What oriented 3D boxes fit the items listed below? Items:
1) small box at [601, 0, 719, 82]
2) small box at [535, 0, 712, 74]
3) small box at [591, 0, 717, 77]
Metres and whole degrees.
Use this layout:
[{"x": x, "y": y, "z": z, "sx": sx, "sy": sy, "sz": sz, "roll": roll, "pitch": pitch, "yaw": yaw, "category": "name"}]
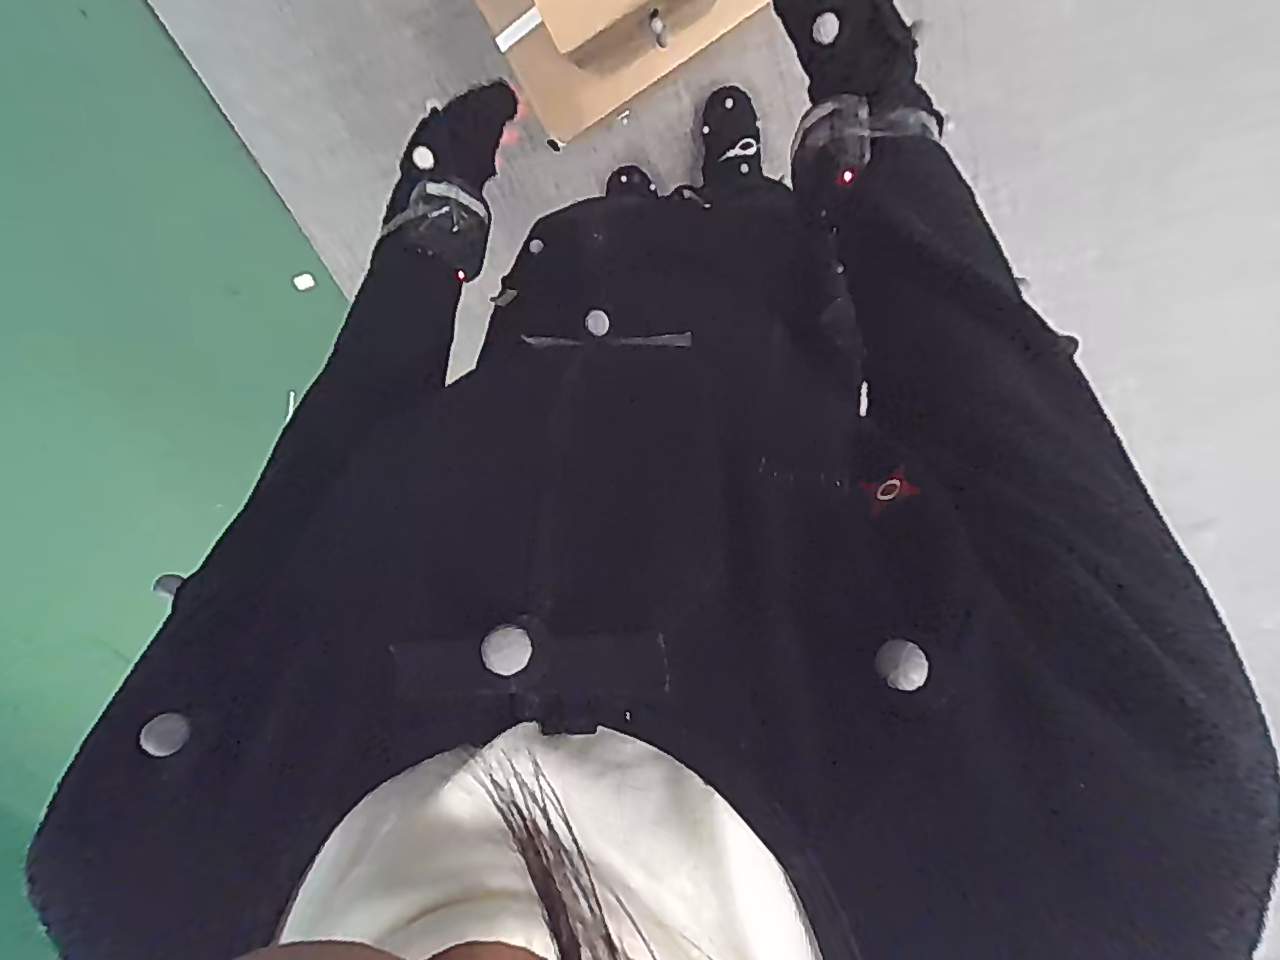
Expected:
[{"x": -0.009, "y": -0.660, "z": 0.712, "sx": 0.179, "sy": 0.176, "sz": 0.168, "roll": -23, "pitch": 120, "yaw": 15, "category": "small box"}, {"x": -0.017, "y": -0.472, "z": 0.443, "sx": 0.179, "sy": 0.176, "sz": 0.168, "roll": -21, "pitch": 119, "yaw": 17, "category": "small box"}, {"x": -0.016, "y": -0.569, "z": 0.576, "sx": 0.168, "sy": 0.176, "sz": 0.179, "roll": -23, "pitch": 120, "yaw": 17, "category": "small box"}]
